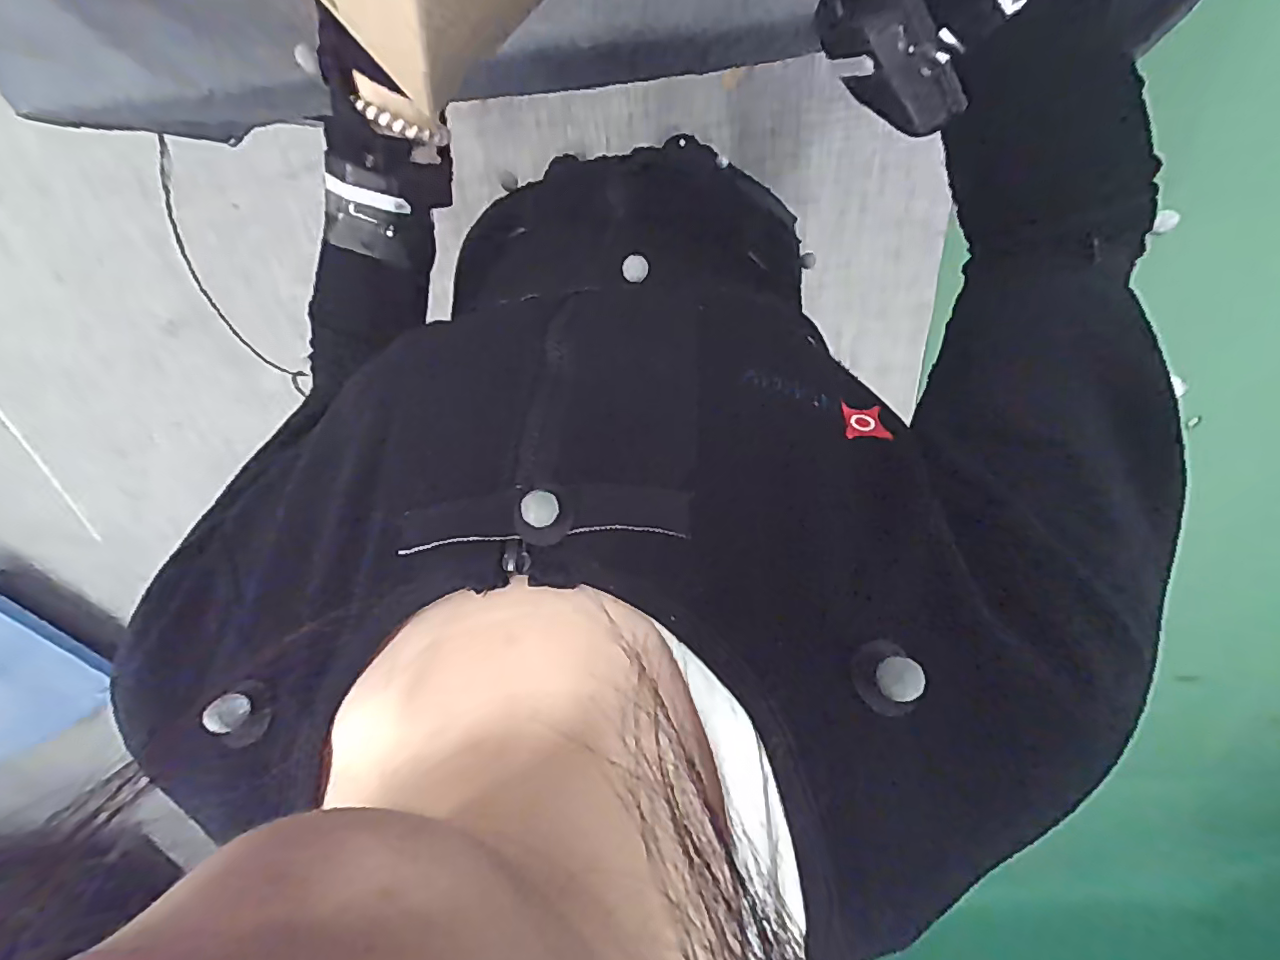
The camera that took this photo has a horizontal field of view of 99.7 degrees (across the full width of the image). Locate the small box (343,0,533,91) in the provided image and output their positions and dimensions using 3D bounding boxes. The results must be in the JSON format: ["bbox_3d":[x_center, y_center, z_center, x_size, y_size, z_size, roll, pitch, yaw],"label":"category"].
[{"bbox_3d":[-0.083,-0.293,0.193,0.179,0.176,0.168,-48,116,-1],"label":"small box"}]
